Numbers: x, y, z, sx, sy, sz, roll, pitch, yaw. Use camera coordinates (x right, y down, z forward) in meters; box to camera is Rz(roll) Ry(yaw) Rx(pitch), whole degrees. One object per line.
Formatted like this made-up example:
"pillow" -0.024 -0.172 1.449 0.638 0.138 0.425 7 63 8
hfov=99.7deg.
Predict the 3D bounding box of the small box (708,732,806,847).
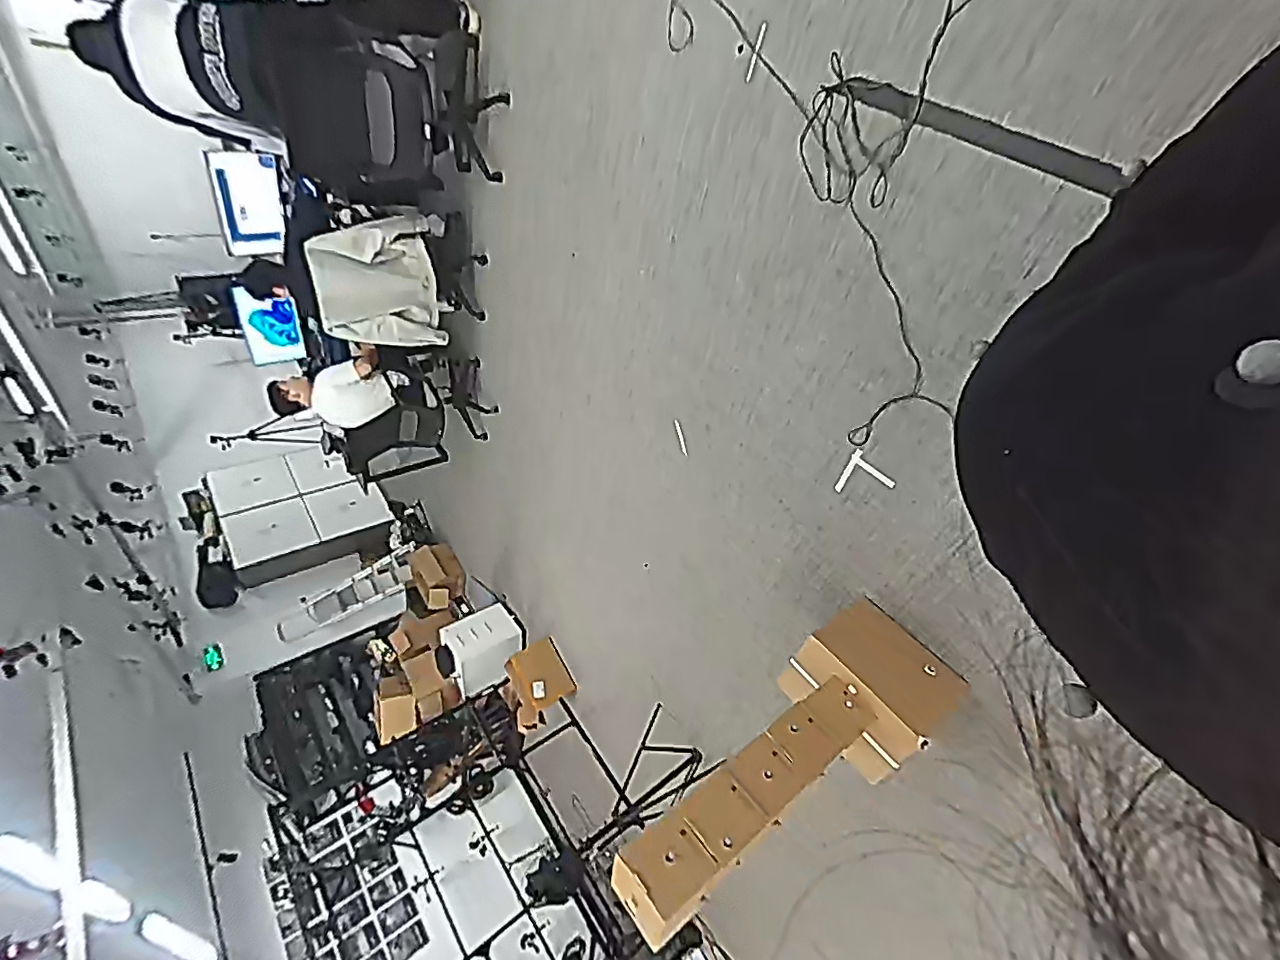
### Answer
"small box" 0.311 0.809 1.428 0.168 0.176 0.179 41 136 36

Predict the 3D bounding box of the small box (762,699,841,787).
"small box" 0.436 0.757 1.522 0.168 0.176 0.179 44 139 33

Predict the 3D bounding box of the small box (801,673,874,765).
"small box" 0.562 0.718 1.616 0.168 0.176 0.179 44 137 31

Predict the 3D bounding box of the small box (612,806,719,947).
"small box" 0.058 0.898 1.239 0.168 0.176 0.179 38 133 38
